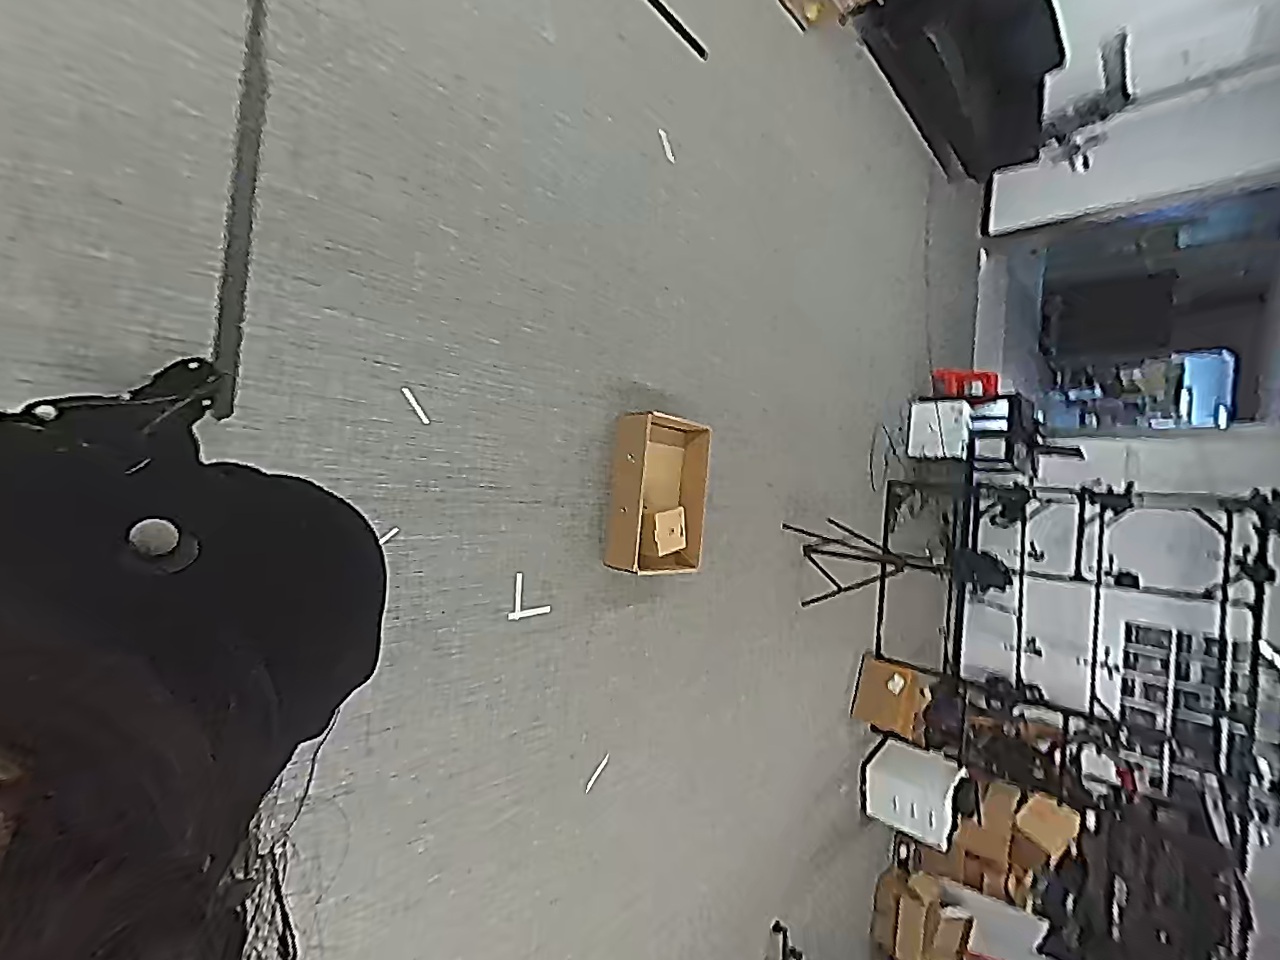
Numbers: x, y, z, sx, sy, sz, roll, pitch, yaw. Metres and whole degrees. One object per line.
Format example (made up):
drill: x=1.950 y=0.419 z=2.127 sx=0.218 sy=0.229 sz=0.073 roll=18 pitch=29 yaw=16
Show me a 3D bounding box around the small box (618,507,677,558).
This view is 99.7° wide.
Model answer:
small box: x=0.026 y=0.203 z=2.139 sx=0.179 sy=0.176 sz=0.168 roll=-11 pitch=100 yaw=-47
